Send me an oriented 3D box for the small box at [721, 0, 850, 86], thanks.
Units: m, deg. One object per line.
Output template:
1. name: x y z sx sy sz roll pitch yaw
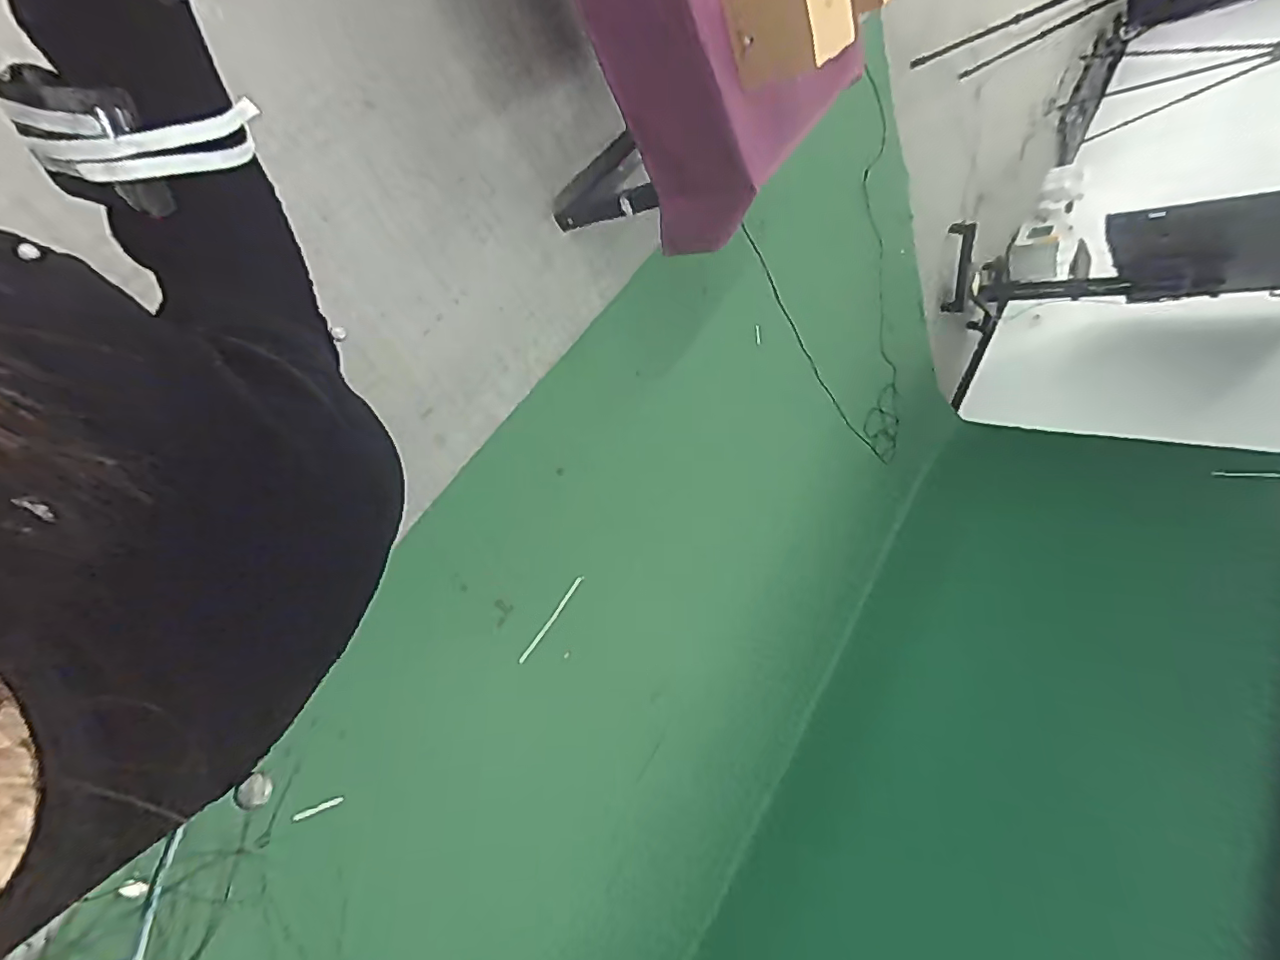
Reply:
1. small box: 0.286 -0.911 1.061 0.168 0.176 0.179 -49 130 -26
